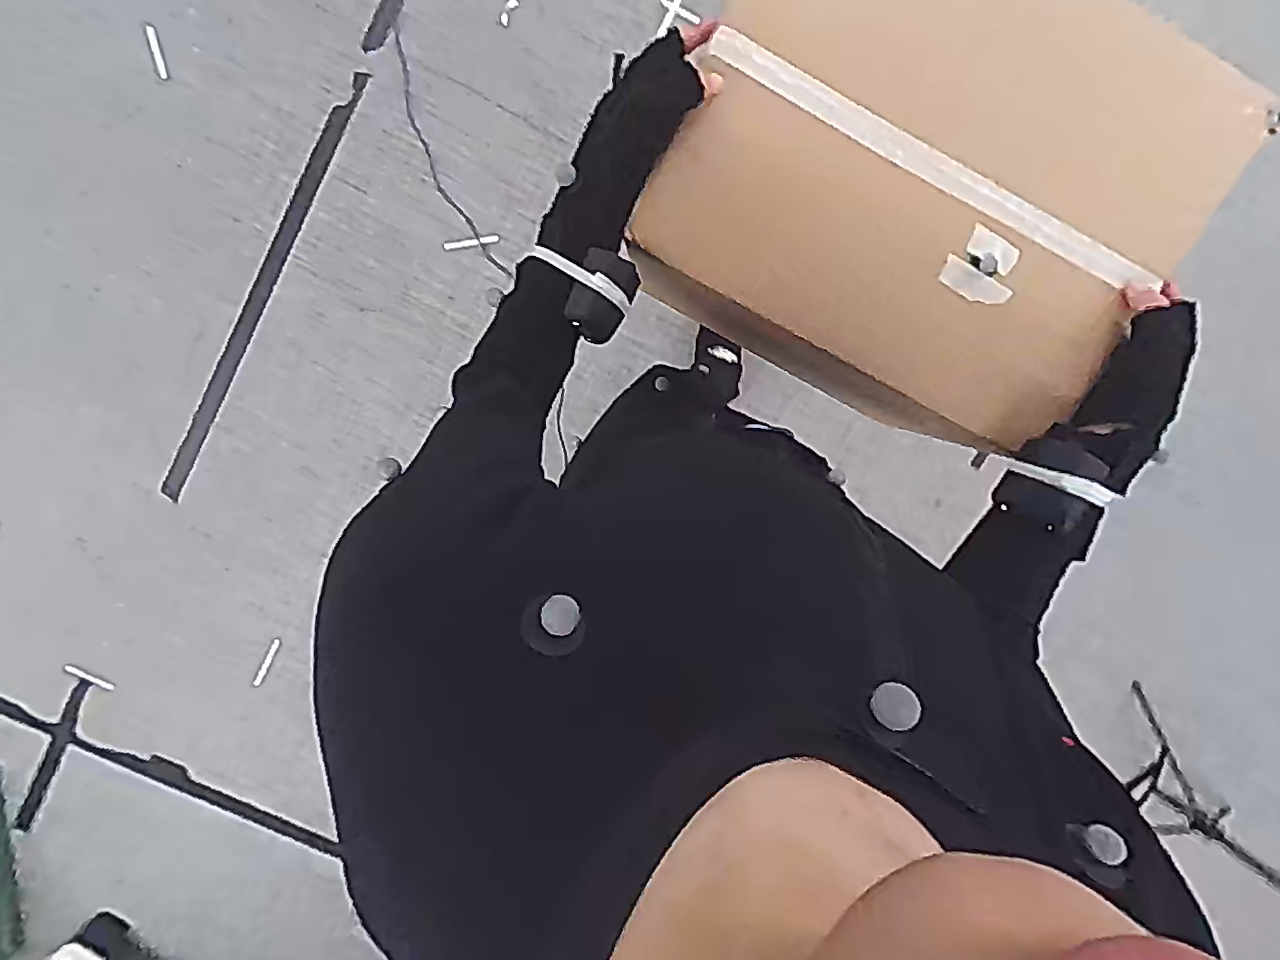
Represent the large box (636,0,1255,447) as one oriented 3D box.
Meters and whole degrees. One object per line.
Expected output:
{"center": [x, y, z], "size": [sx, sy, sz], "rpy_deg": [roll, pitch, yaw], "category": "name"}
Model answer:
{"center": [0.240, -0.279, 0.581], "size": [0.408, 0.320, 0.320], "rpy_deg": [28, 103, -5], "category": "large box"}
